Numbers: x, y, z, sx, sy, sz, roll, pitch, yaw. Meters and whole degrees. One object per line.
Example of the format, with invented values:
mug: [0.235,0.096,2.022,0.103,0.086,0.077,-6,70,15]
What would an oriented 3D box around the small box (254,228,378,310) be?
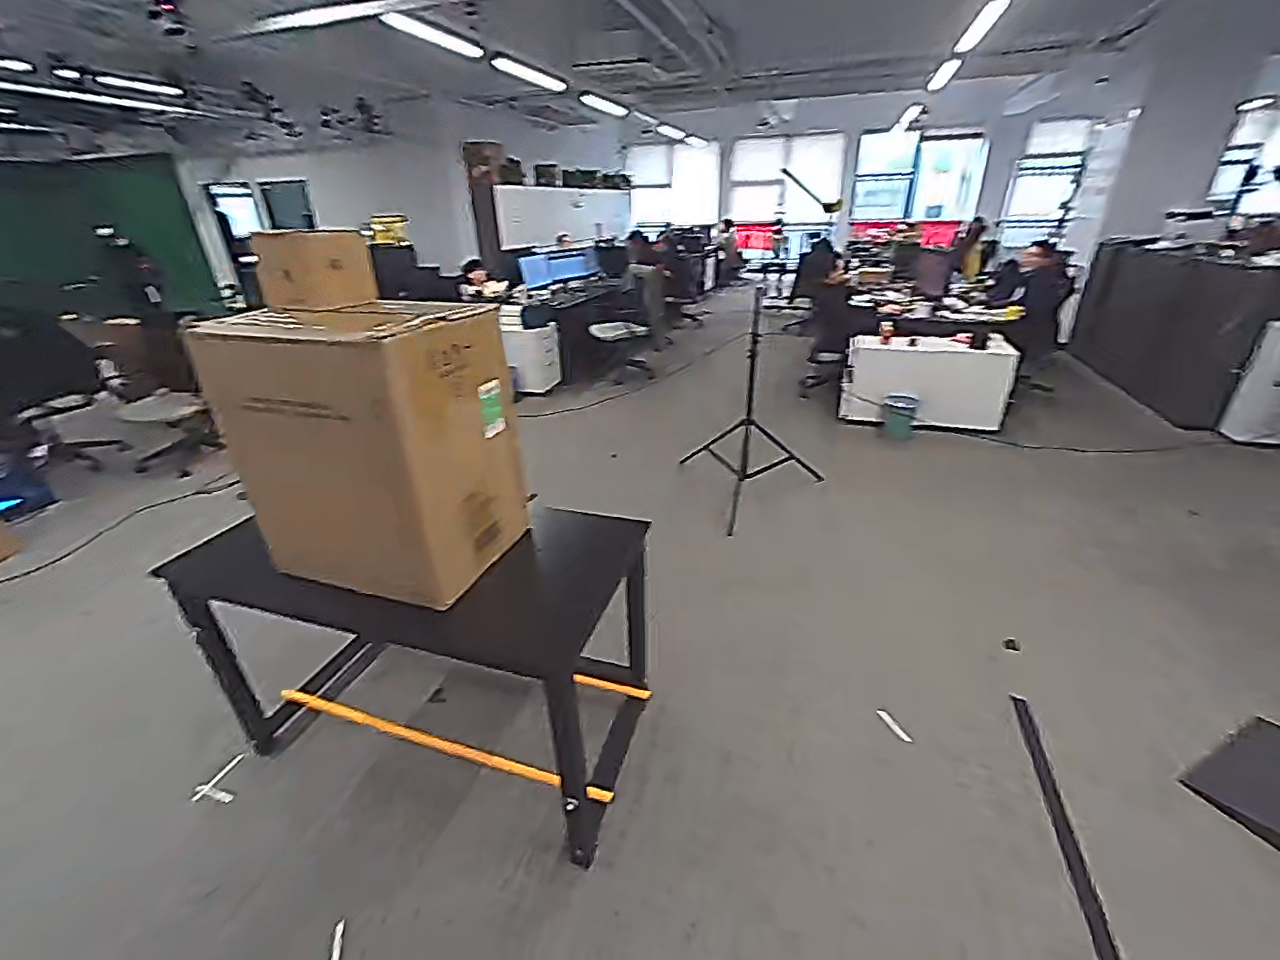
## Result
small box: [-0.755,-0.502,1.282,0.168,0.176,0.179,8,27,17]
